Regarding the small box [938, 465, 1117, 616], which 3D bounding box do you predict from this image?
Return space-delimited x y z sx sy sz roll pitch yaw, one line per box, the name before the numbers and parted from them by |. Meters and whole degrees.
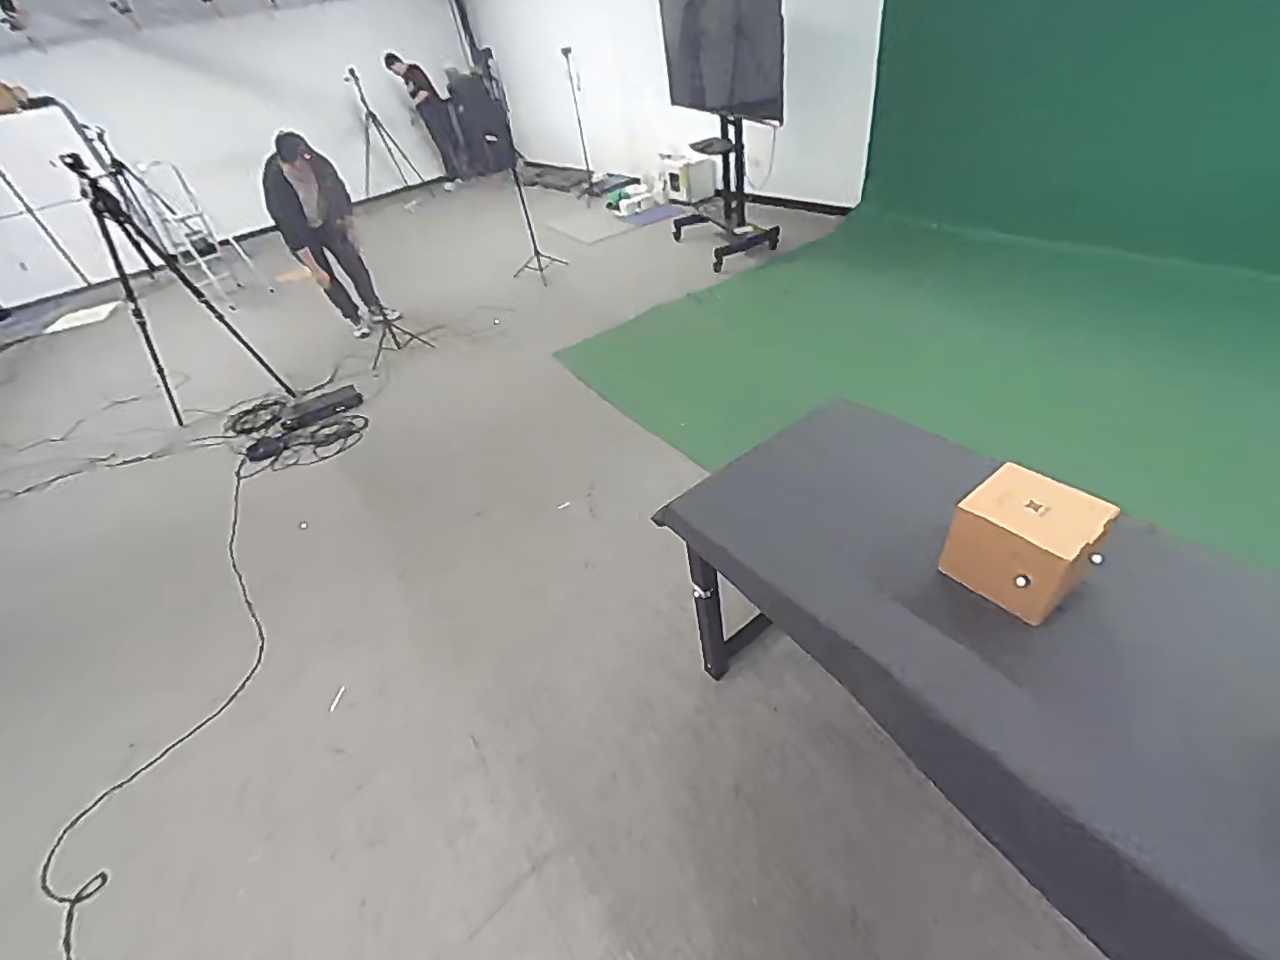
small box | 0.657 0.109 0.937 0.168 0.176 0.179 -30 43 -24
